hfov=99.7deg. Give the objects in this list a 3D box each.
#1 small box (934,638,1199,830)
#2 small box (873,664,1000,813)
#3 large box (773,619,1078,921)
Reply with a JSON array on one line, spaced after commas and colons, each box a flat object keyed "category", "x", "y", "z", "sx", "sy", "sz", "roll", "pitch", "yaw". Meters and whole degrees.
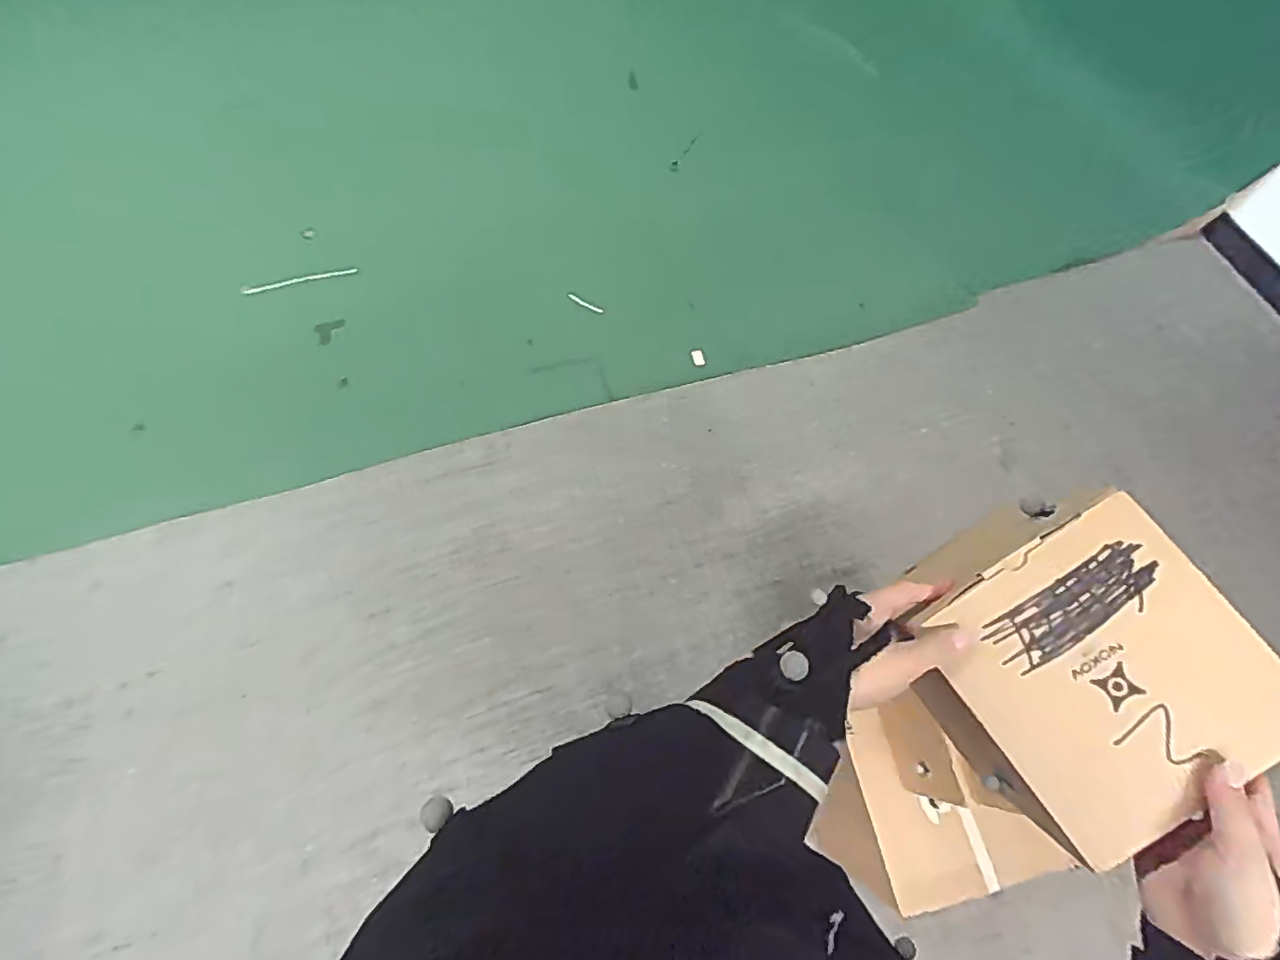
[{"category": "small box", "x": 0.518, "y": 0.315, "z": 0.691, "sx": 0.168, "sy": 0.176, "sz": 0.179, "roll": -9, "pitch": 69, "yaw": -9}, {"category": "small box", "x": 0.495, "y": 0.386, "z": 0.836, "sx": 0.168, "sy": 0.176, "sz": 0.179, "roll": -9, "pitch": 67, "yaw": -8}, {"category": "large box", "x": 0.497, "y": 0.516, "z": 1.044, "sx": 0.320, "sy": 0.320, "sz": 0.408, "roll": -10, "pitch": 69, "yaw": -7}]
